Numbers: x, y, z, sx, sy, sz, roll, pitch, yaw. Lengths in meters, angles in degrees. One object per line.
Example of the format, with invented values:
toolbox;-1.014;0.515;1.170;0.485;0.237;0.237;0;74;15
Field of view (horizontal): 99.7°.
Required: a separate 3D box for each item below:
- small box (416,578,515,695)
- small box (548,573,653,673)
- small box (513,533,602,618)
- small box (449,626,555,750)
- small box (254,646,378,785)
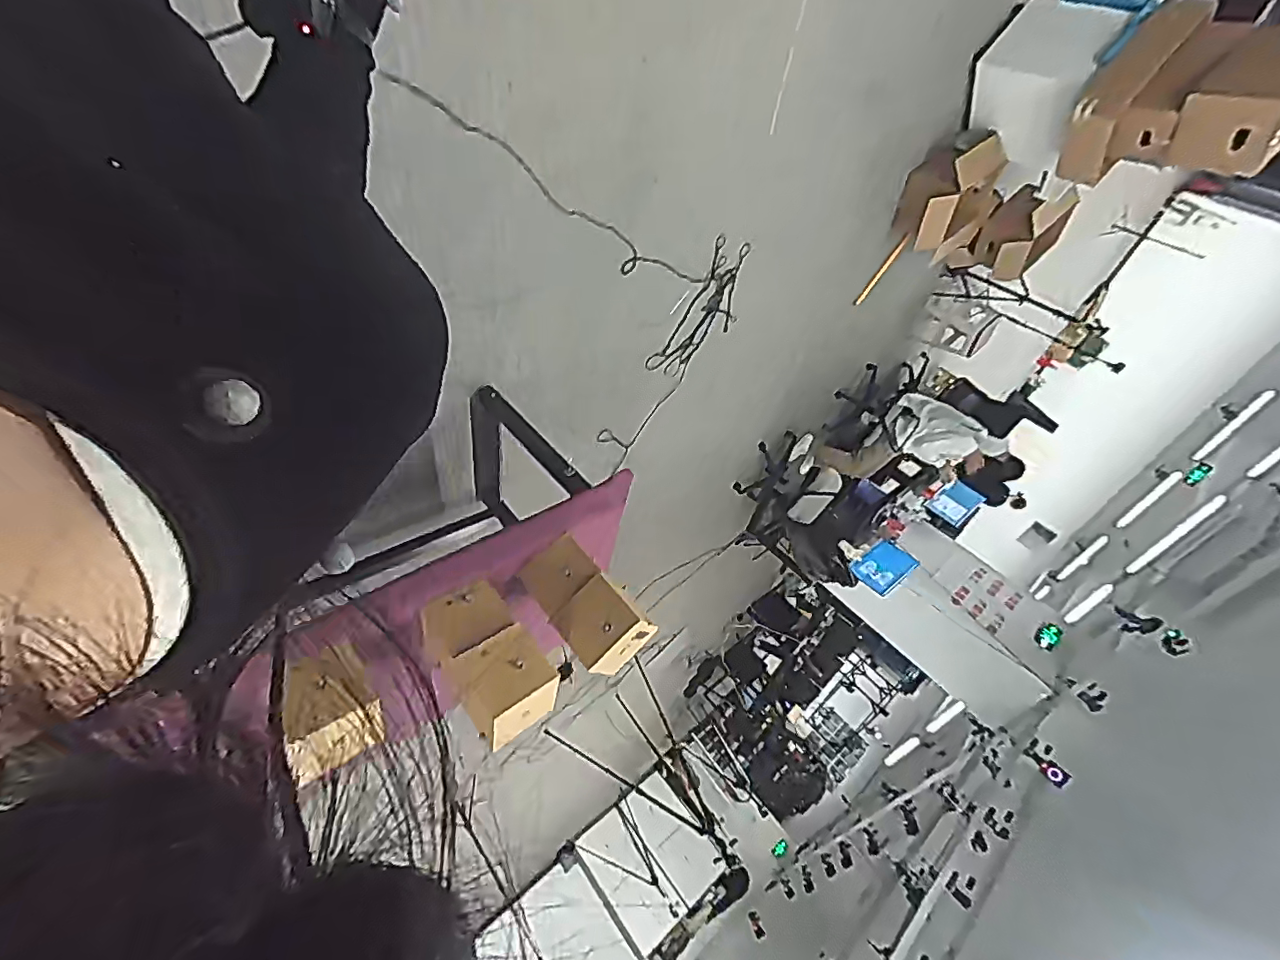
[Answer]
small box;-0.419;0.369;1.297;0.168;0.176;0.179;-25;145;-36
small box;-0.100;0.362;1.372;0.179;0.176;0.168;-44;152;-3
small box;-0.210;0.275;1.460;0.179;0.176;0.168;-40;151;-14
small box;-0.312;0.455;1.209;0.168;0.176;0.179;-26;147;-36
small box;-0.653;0.463;1.094;0.168;0.176;0.179;-21;142;-39
